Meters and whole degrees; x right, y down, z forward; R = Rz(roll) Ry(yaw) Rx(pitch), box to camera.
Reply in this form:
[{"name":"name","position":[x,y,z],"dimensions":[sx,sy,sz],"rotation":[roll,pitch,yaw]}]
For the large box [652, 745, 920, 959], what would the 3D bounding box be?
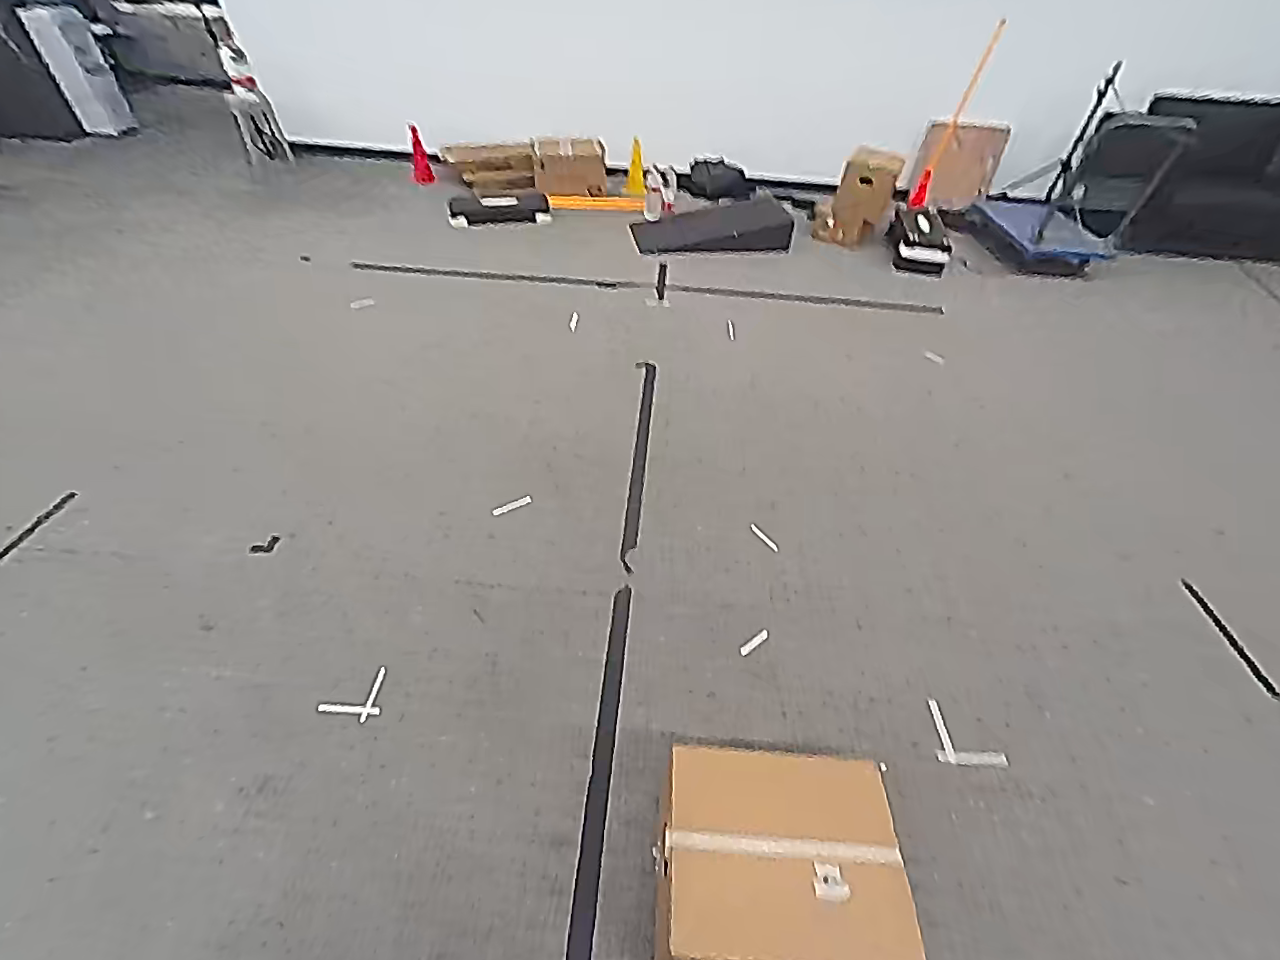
[{"name":"large box","position":[0.235,0.743,1.047],"dimensions":[0.408,0.320,0.320],"rotation":[6,45,-1]}]
